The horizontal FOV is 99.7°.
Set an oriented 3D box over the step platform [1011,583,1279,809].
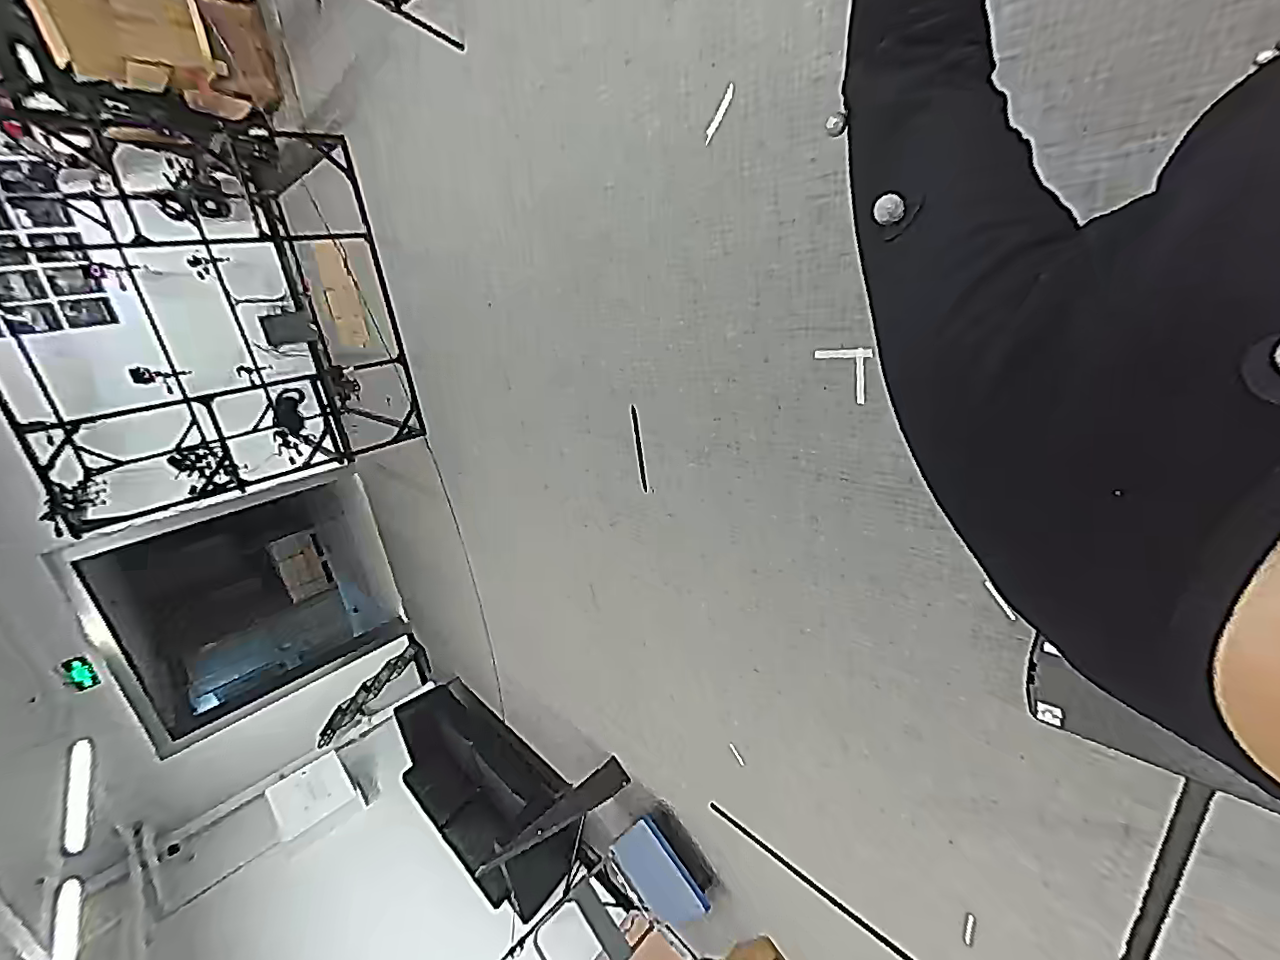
[{"bbox_3d":[1.187,0.460,1.127,0.684,0.204,0.286,13,119,47],"label":"step platform"}]
